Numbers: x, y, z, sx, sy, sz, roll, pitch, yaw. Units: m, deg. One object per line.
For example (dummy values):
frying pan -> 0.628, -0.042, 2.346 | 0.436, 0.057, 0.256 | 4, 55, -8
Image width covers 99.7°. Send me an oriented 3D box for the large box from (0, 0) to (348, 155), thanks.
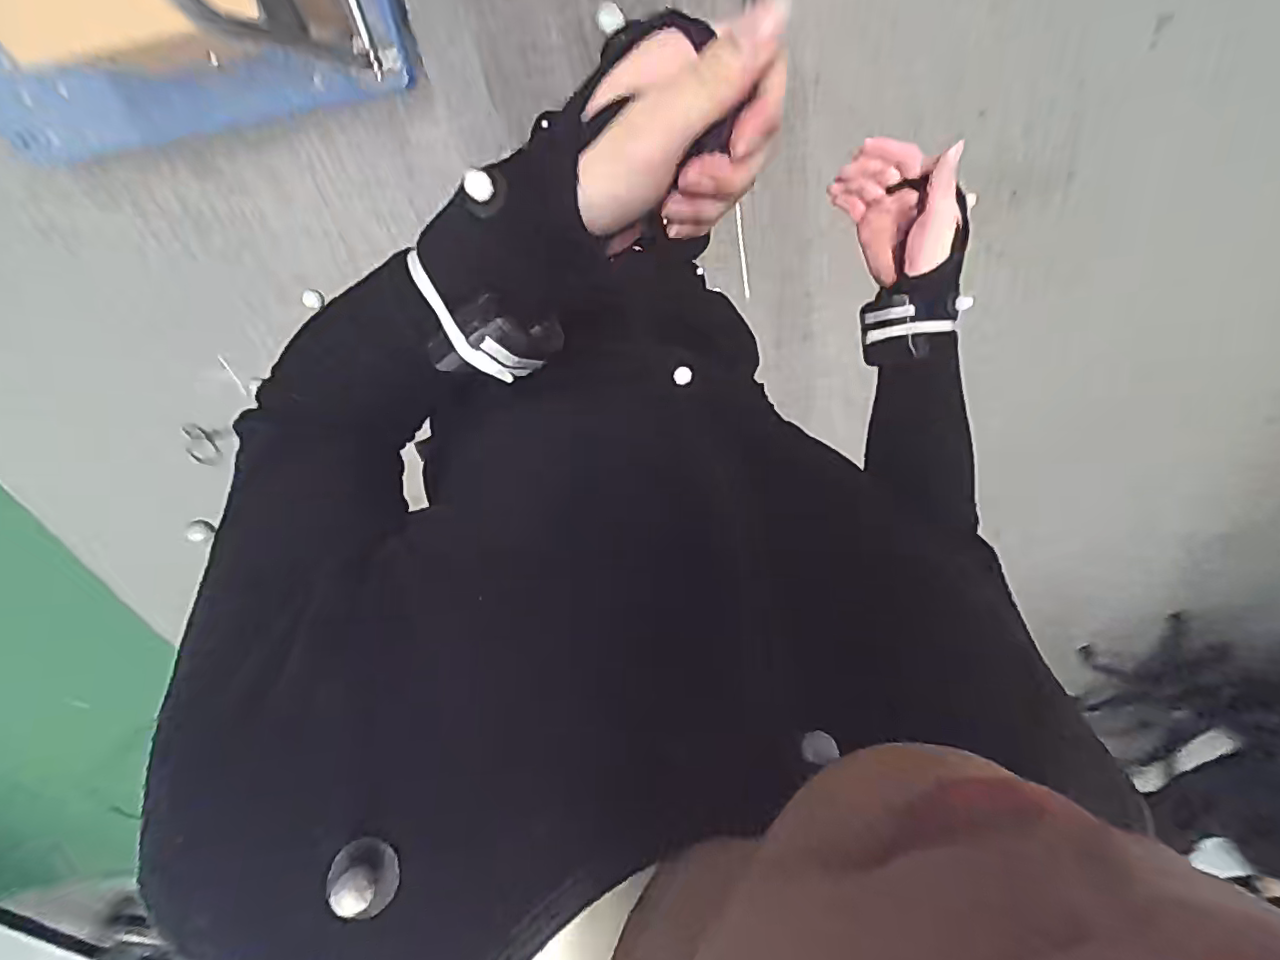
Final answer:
large box -> -0.803, -0.788, 0.901 | 0.408, 0.320, 0.320 | -13, 123, 8
